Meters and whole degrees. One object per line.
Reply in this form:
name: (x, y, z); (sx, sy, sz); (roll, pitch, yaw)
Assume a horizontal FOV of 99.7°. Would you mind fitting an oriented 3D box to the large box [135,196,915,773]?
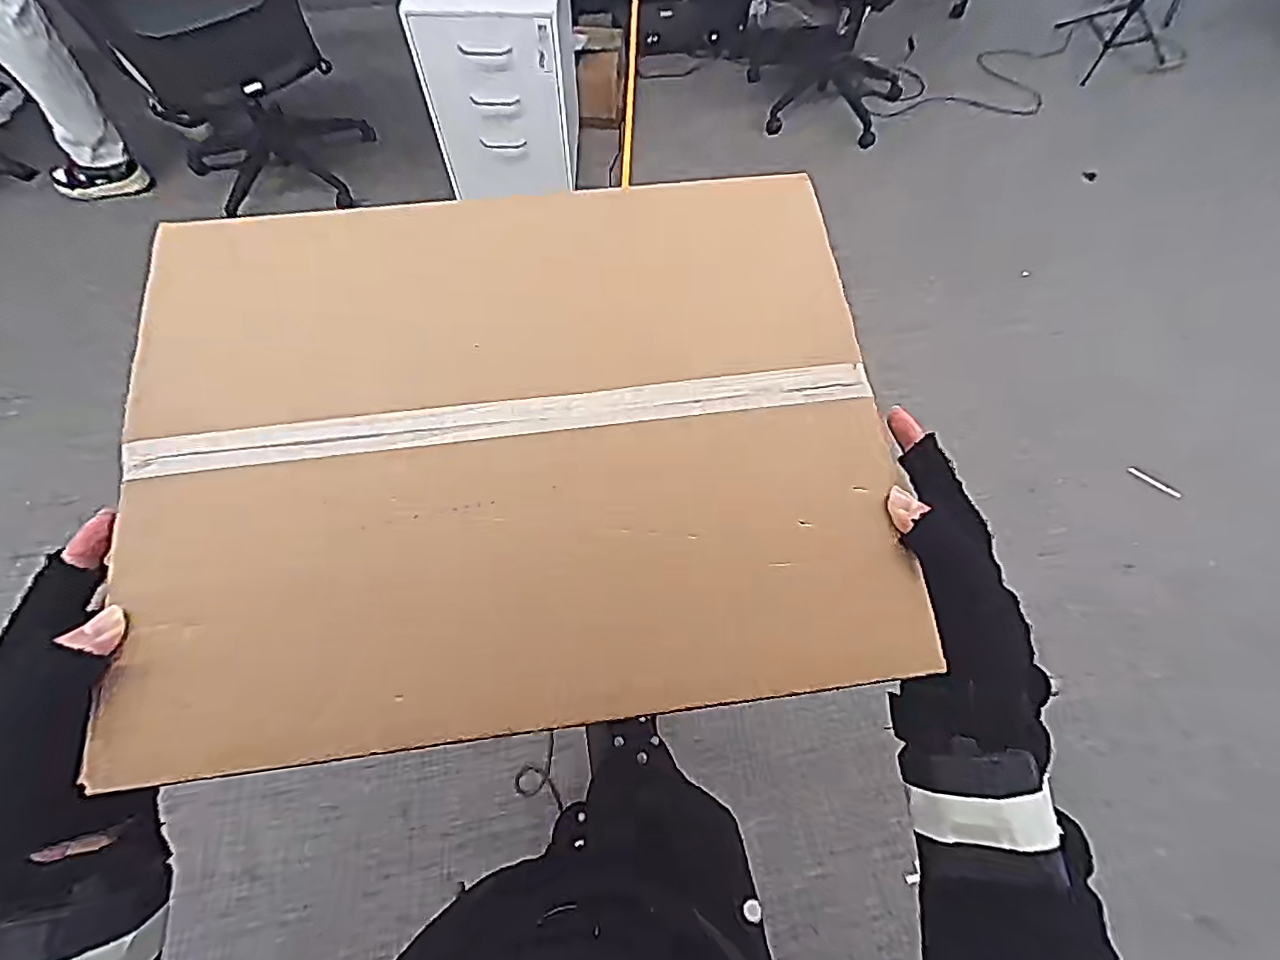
large box: (-0.074, 0.017, 0.458); (0.408, 0.320, 0.320); (-7, 74, -4)
